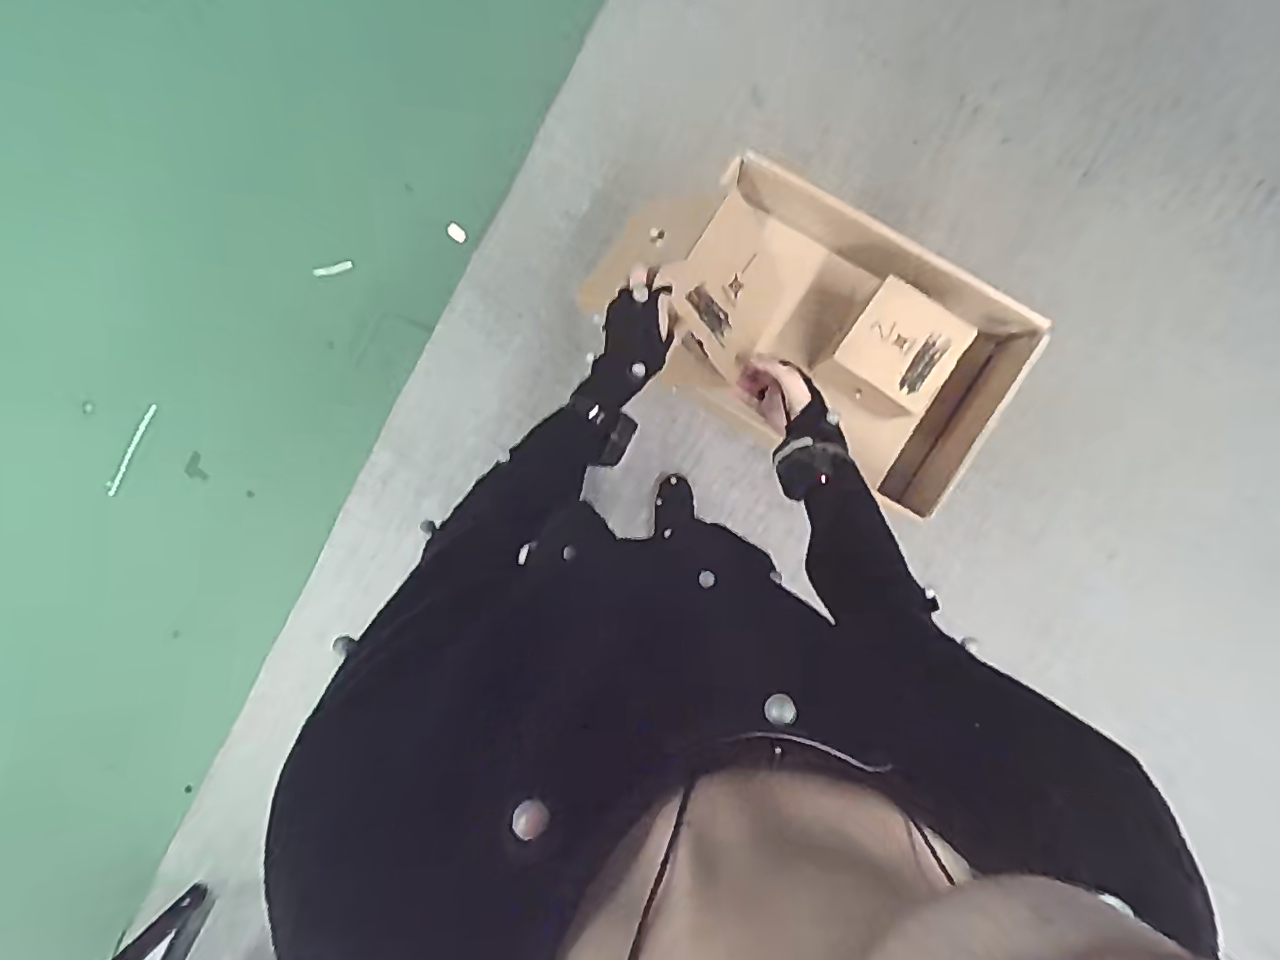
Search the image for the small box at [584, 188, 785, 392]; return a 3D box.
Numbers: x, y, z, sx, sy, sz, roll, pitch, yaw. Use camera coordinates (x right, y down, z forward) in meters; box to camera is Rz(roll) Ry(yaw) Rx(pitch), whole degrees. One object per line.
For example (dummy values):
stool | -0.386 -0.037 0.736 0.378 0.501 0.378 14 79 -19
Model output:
small box | 0.053 -0.235 0.706 0.168 0.176 0.179 43 71 -40
